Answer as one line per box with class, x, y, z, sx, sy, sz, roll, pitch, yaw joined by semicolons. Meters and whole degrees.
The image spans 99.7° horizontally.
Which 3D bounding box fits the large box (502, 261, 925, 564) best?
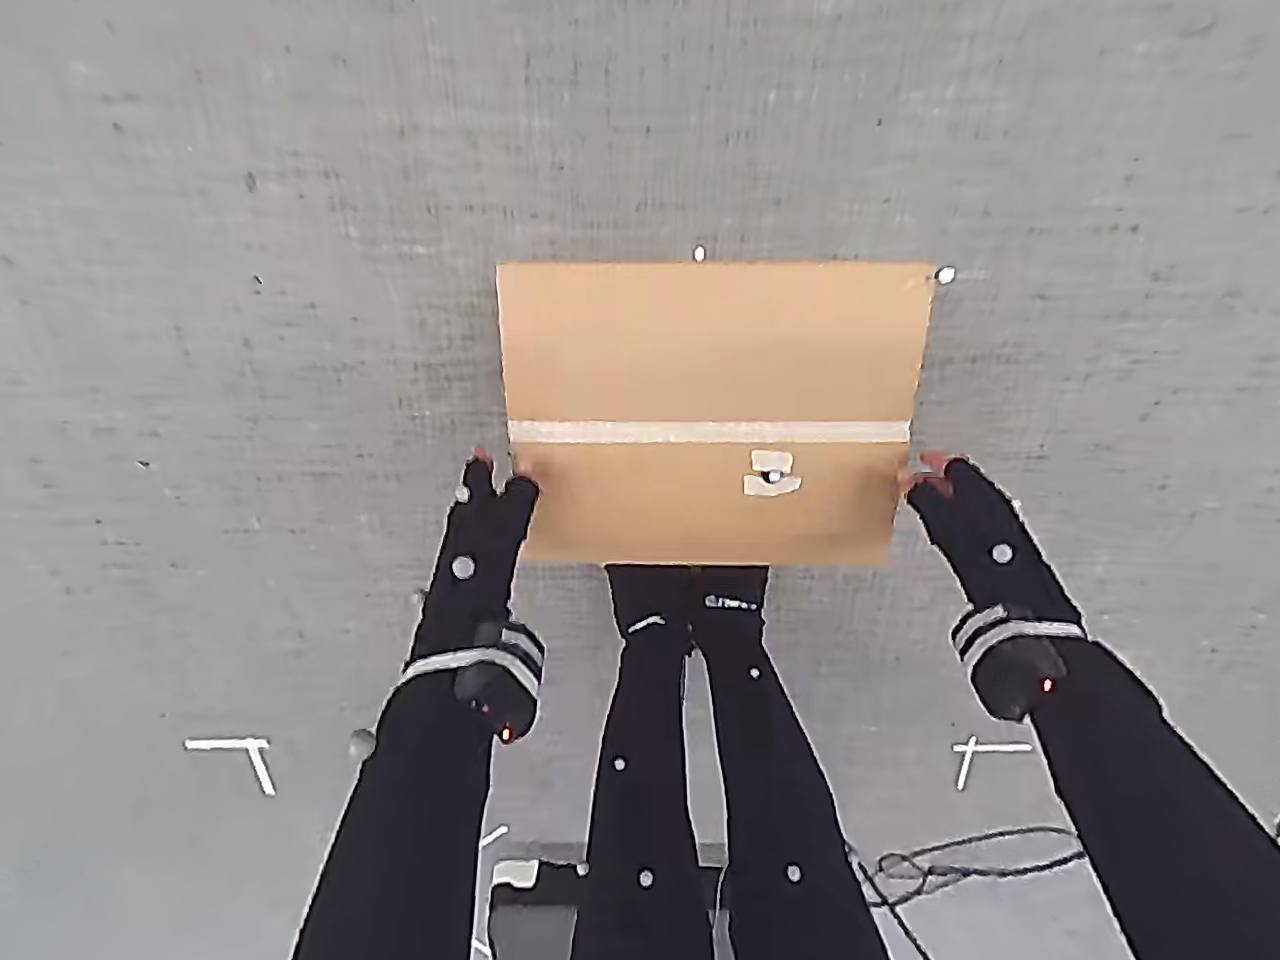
large box;0.071;-0.105;0.694;0.408;0.320;0.320;-1;111;0
